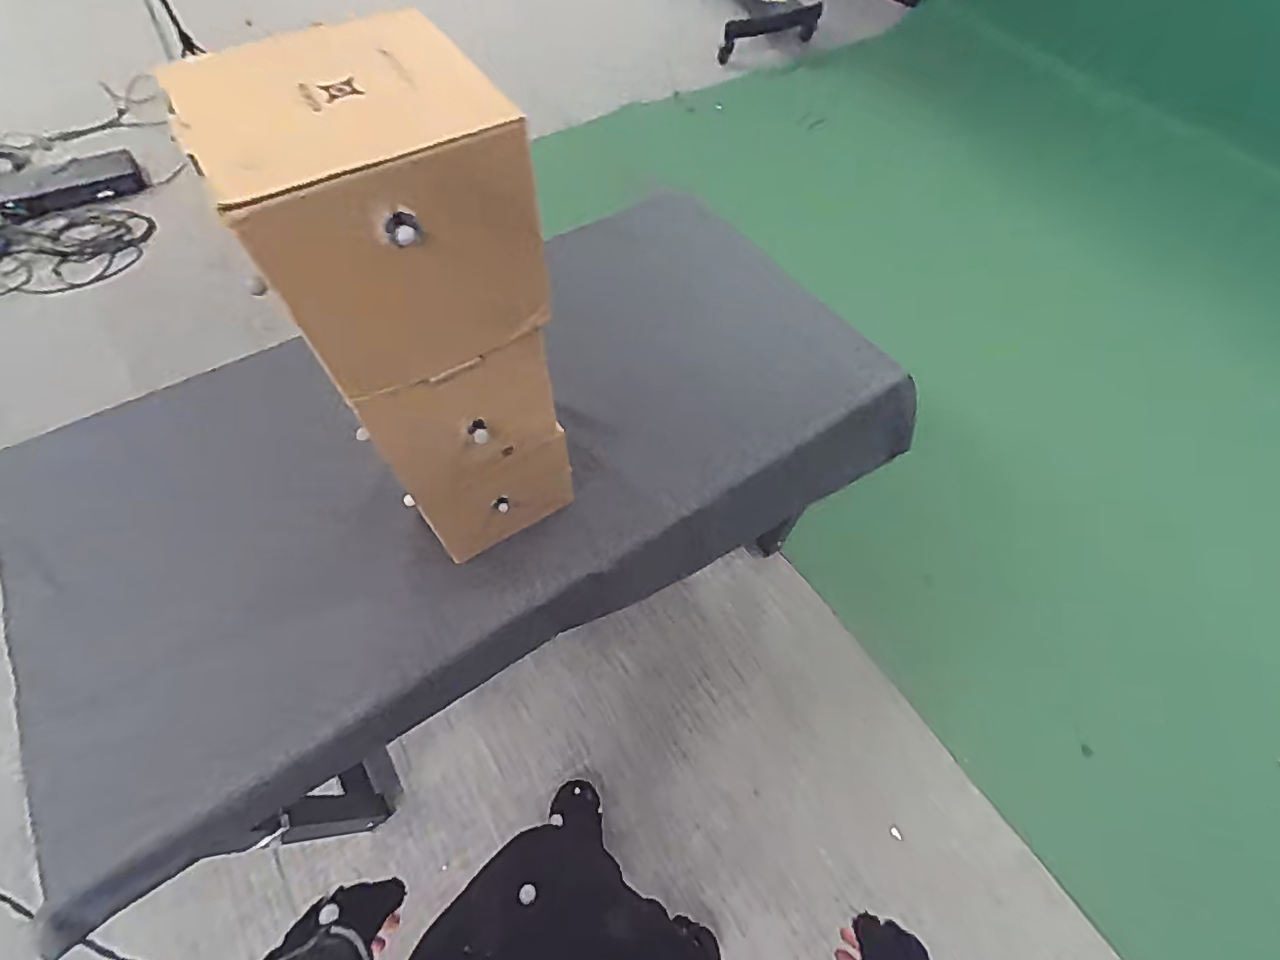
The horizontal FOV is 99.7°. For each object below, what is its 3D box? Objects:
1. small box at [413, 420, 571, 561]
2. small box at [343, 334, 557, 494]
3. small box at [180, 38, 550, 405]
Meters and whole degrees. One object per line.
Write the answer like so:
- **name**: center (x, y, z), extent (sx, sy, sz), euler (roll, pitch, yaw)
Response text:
- **small box**: center (-0.200, -0.026, 0.694), extent (0.179, 0.176, 0.168), euler (-30, 65, -17)
- **small box**: center (-0.200, -0.107, 0.552), extent (0.168, 0.176, 0.179), euler (-31, 65, -18)
- **small box**: center (-0.185, -0.188, 0.412), extent (0.179, 0.176, 0.168), euler (-29, 66, -18)
